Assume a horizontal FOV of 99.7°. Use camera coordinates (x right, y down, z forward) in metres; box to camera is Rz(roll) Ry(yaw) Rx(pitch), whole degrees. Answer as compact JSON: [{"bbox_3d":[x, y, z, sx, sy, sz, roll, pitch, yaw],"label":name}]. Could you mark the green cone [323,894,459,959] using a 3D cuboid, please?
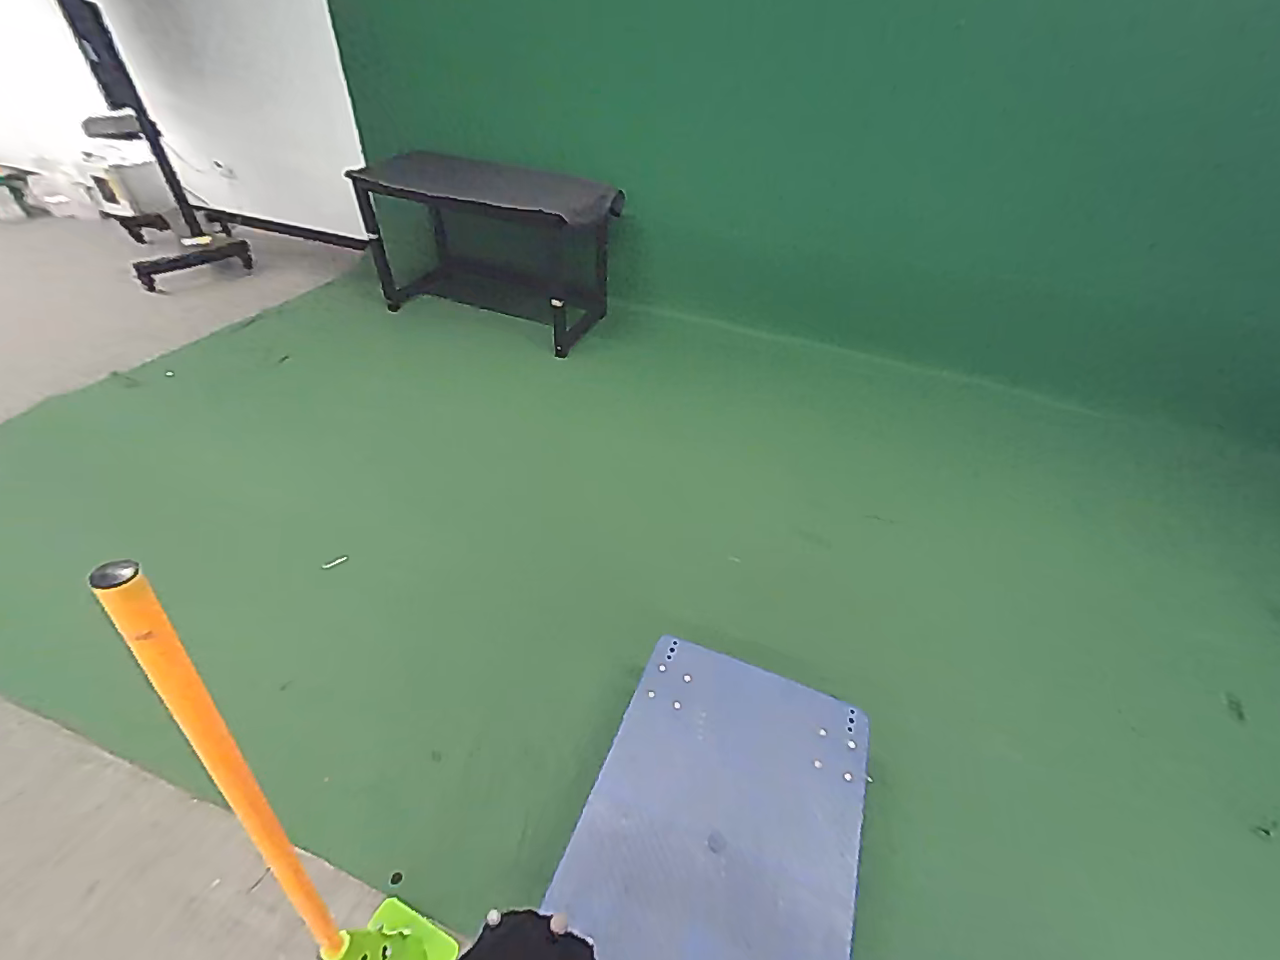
[{"bbox_3d":[-0.491,0.860,0.982,0.202,0.368,0.200,19,43,17],"label":"green cone"}]
